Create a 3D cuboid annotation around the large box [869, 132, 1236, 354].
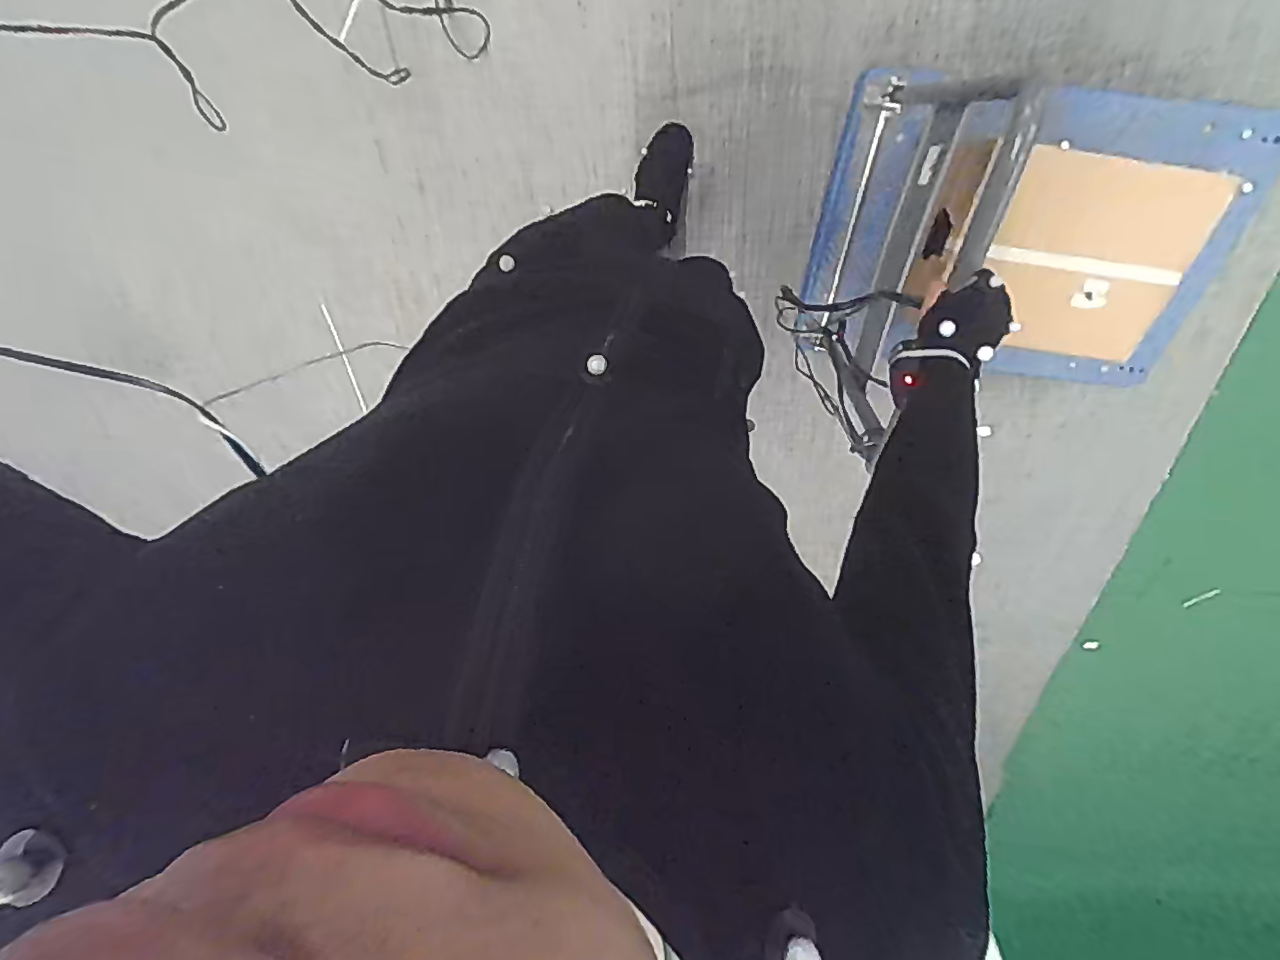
[{"bbox_3d":[0.732,-0.470,1.051,0.408,0.320,0.320,8,125,-2],"label":"large box"}]
